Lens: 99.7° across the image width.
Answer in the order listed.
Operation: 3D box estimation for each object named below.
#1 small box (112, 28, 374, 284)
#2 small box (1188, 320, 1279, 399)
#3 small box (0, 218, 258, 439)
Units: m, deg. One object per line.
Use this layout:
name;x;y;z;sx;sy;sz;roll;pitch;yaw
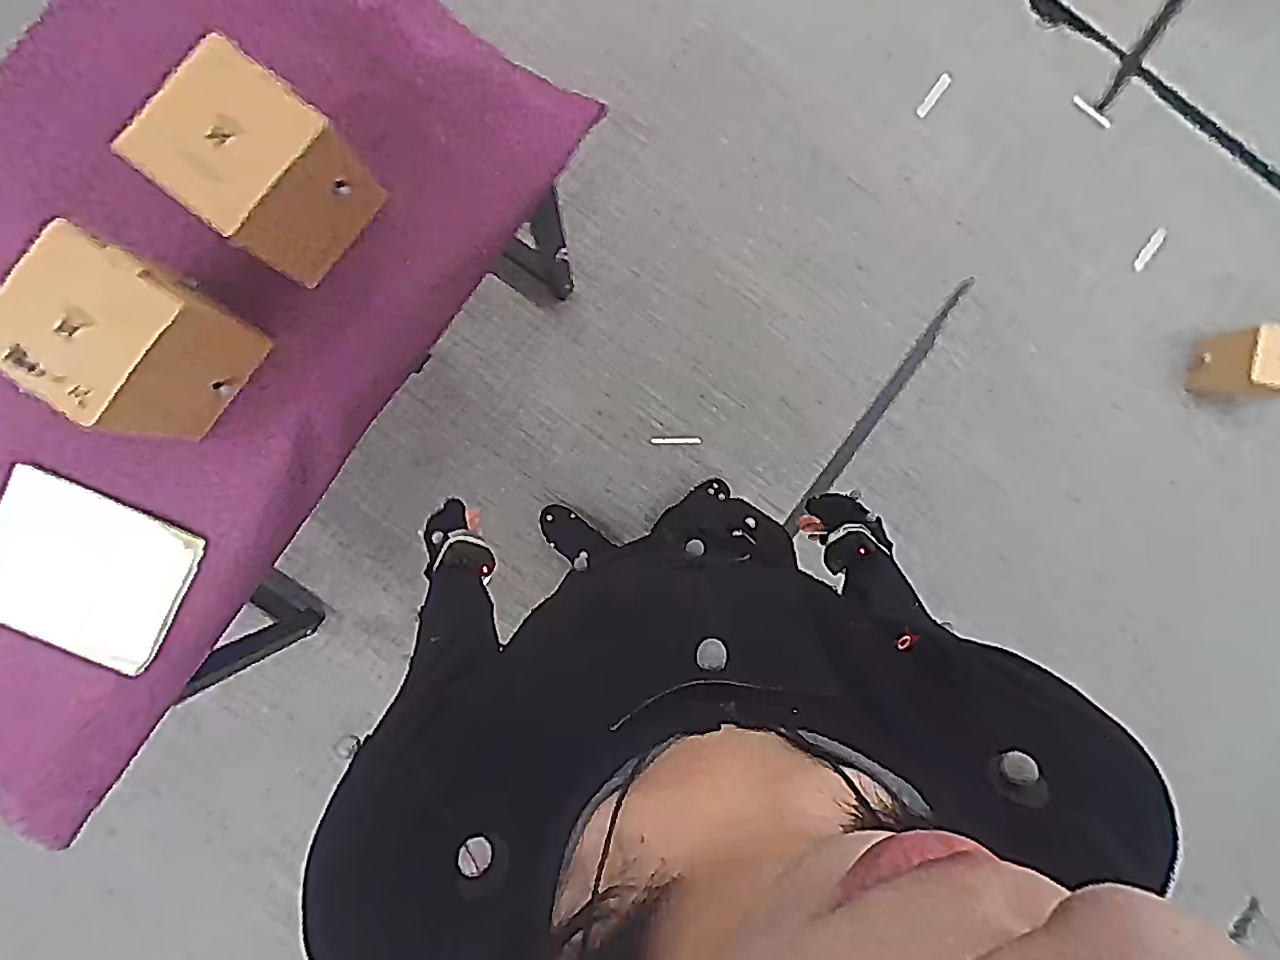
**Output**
small box;-0.470;-0.386;0.679;0.168;0.176;0.179;38;89;0
small box;1.752;-0.337;1.548;0.179;0.176;0.168;13;88;-2
small box;-0.624;-0.170;0.666;0.168;0.176;0.179;35;87;-2
